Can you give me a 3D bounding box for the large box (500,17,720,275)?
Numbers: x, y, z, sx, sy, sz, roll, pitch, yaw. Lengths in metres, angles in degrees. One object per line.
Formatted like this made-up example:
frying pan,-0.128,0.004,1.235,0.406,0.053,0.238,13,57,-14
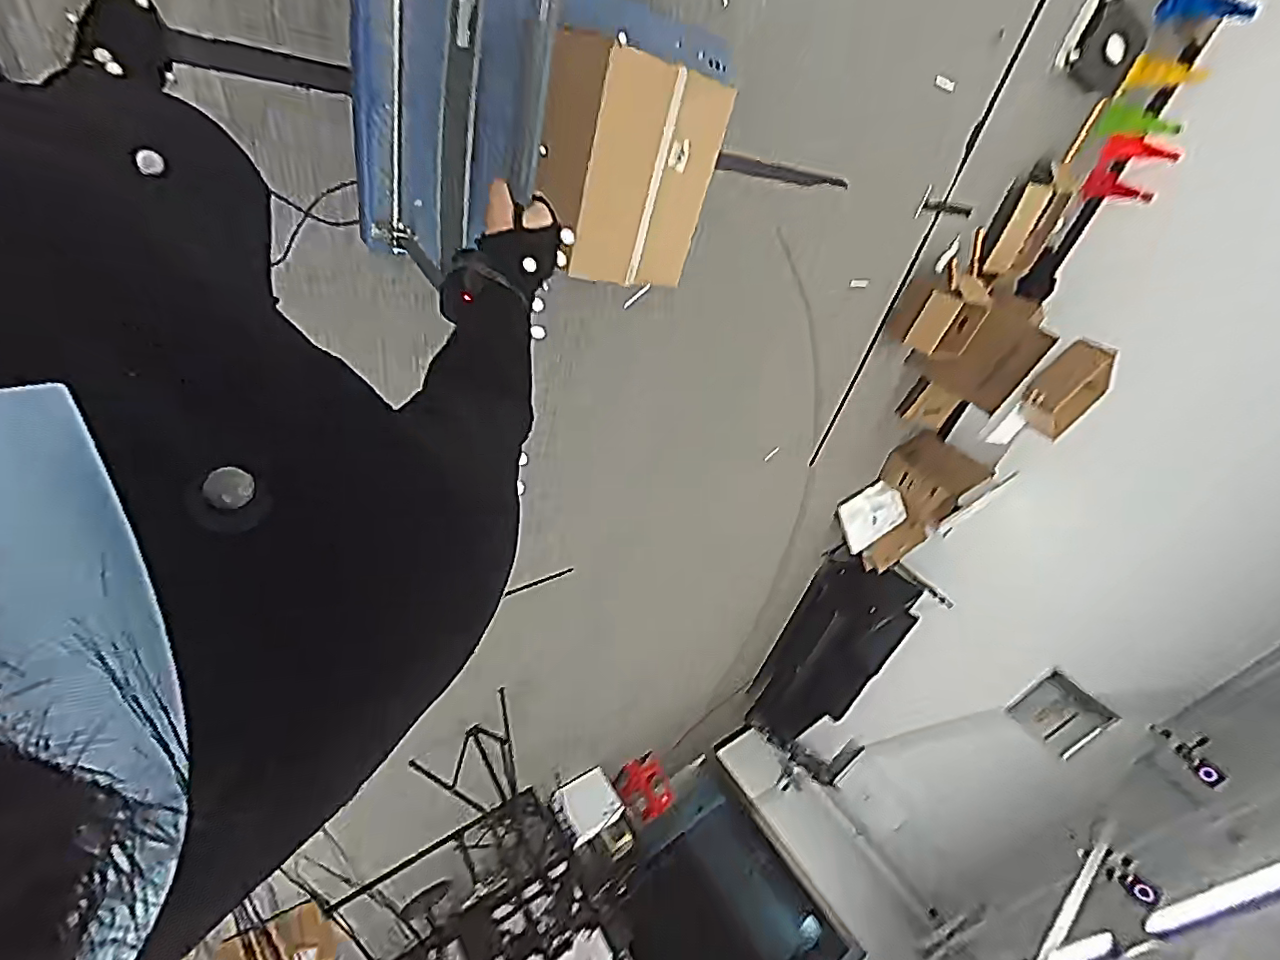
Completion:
large box,-0.089,-0.710,1.193,0.320,0.320,0.408,-12,133,-38
